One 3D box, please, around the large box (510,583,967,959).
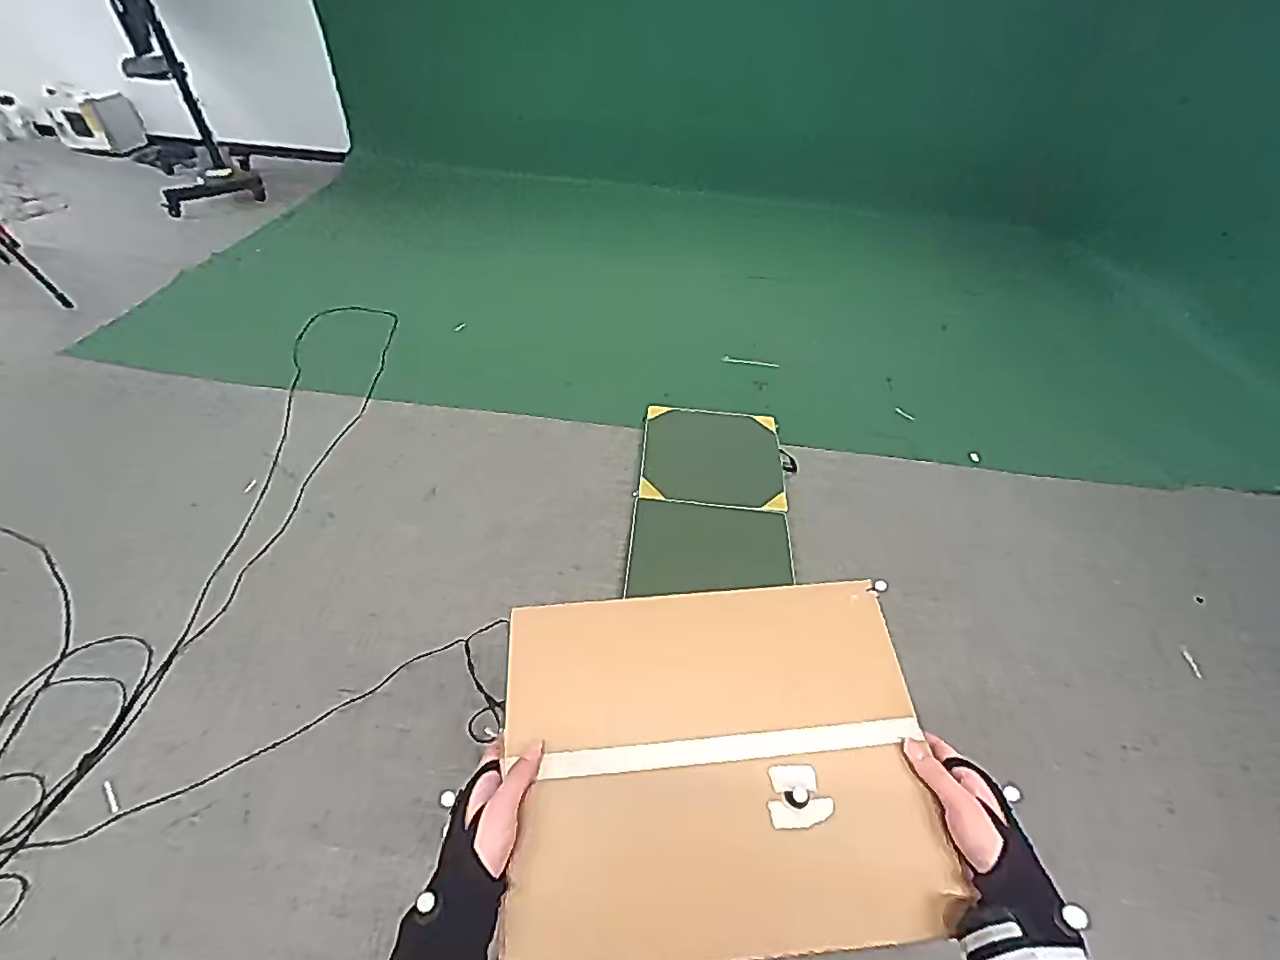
[{"bbox_3d":[0.070,0.343,0.658,0.408,0.320,0.320,-4,58,-4],"label":"large box"}]
